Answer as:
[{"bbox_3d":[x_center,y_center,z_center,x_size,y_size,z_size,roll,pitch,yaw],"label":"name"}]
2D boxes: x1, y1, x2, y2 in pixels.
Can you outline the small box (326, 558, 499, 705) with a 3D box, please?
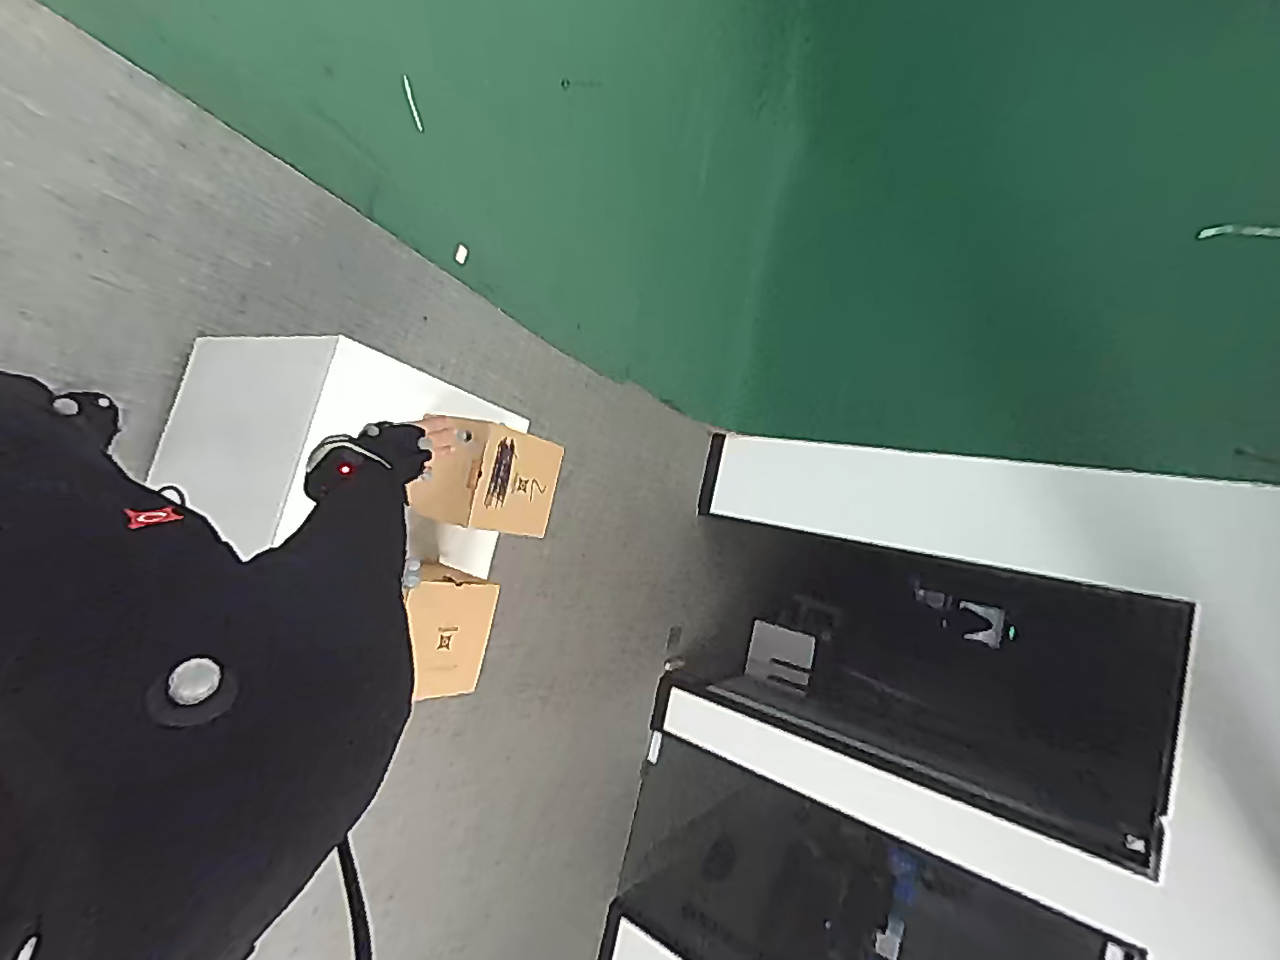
[{"bbox_3d":[-0.354,0.225,0.844,0.168,0.176,0.179,21,81,-55],"label":"small box"}]
